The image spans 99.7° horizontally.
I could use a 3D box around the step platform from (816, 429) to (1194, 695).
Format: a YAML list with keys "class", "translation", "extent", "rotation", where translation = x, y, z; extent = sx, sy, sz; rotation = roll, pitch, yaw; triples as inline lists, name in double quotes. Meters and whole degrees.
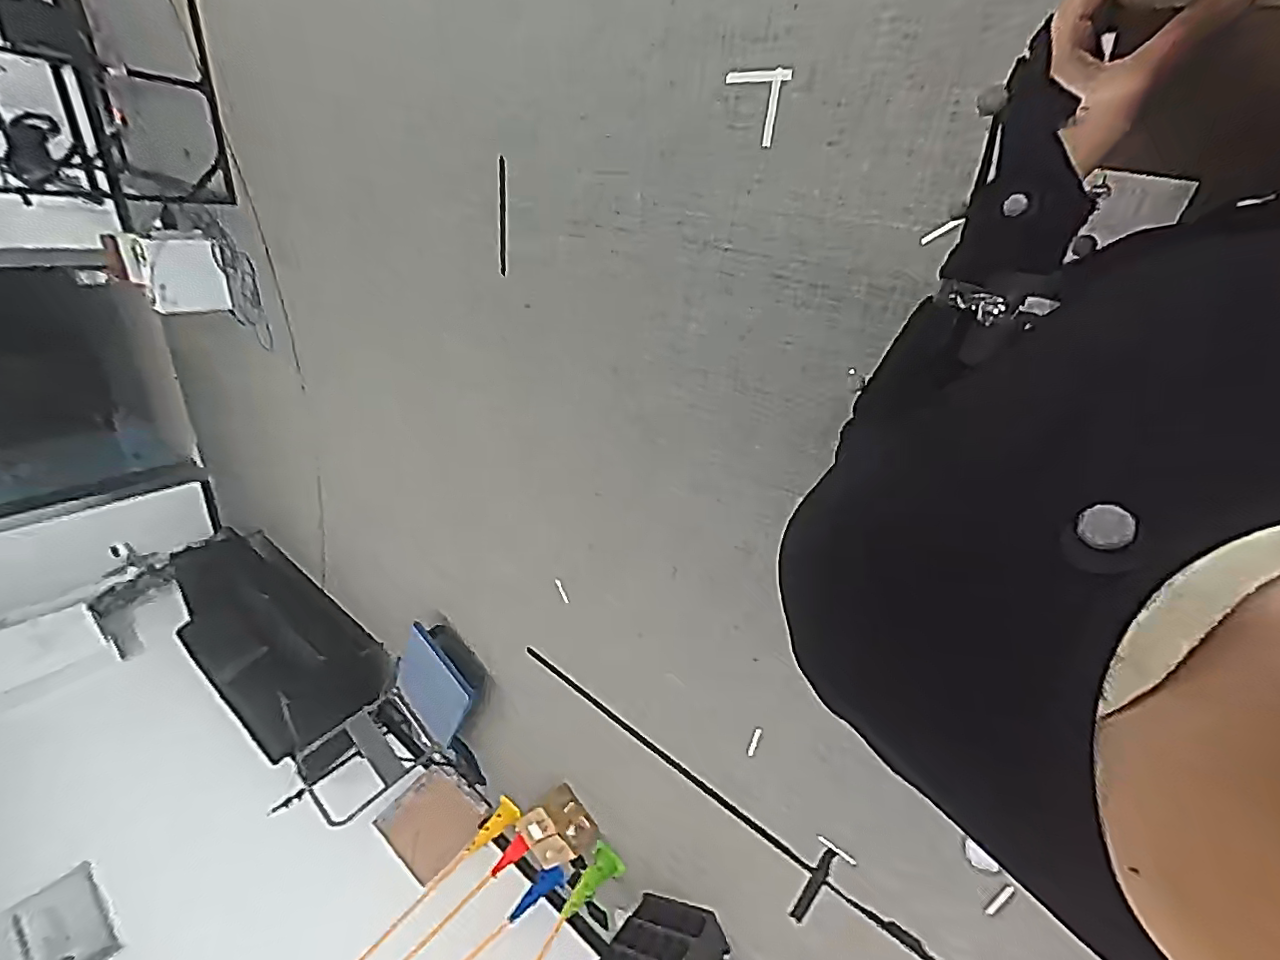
- class: "step platform"
  translation: [0.754, 0.153, 1.209]
  extent: [0.684, 0.204, 0.286]
  rotation: [33, 126, 27]
